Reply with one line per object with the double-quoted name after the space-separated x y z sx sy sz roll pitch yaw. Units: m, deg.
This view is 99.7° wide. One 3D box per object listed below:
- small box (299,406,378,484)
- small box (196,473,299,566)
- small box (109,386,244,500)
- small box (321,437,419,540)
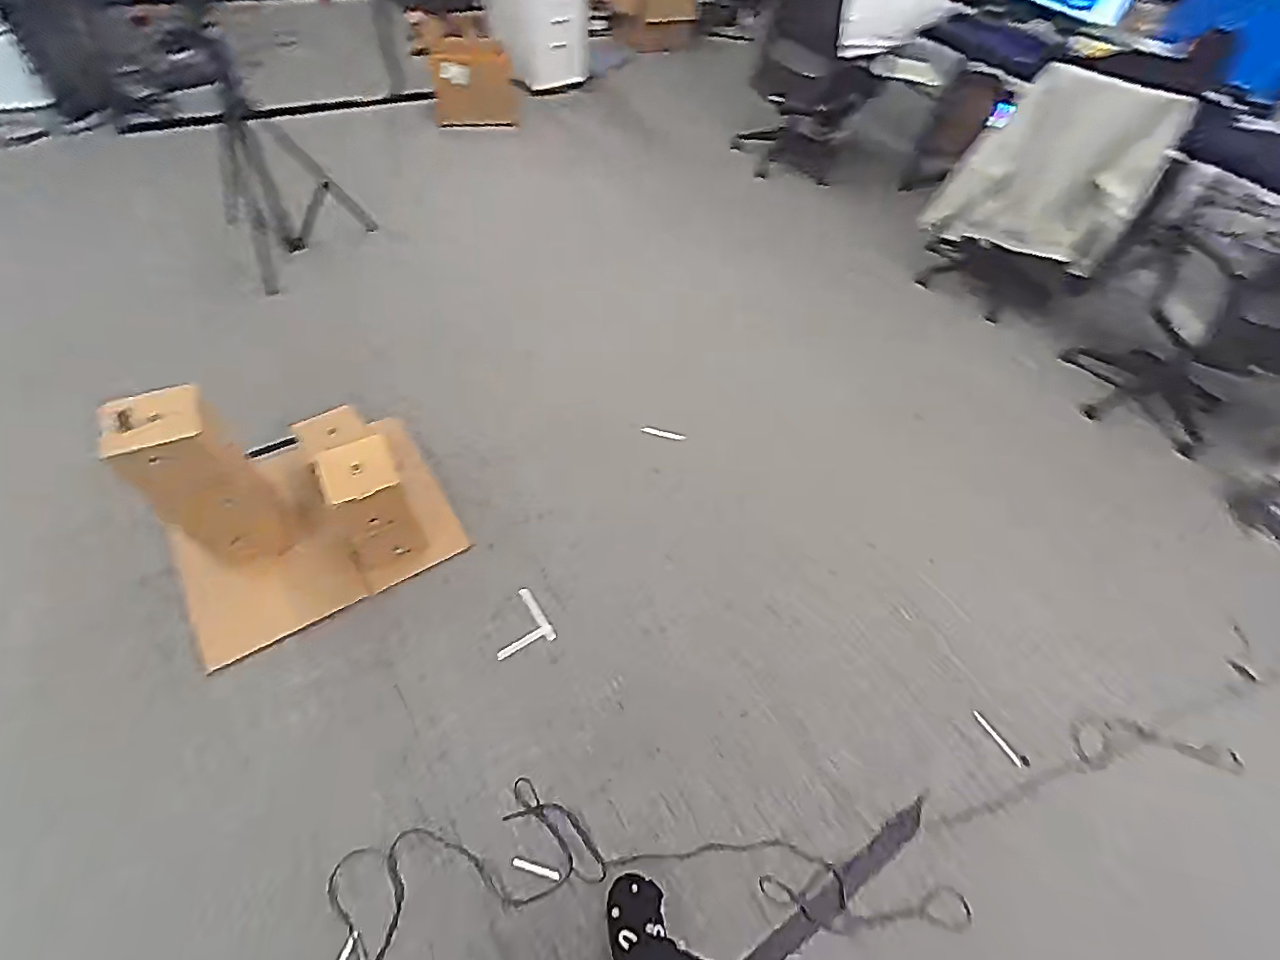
-0.902 -0.089 1.663 0.179 0.176 0.168 -30 62 -24 "small box"
-1.077 0.112 1.491 0.179 0.176 0.168 -18 59 -17 "small box"
-1.042 -0.079 1.225 0.179 0.176 0.168 -19 59 -20 "small box"
-0.695 0.023 1.402 0.168 0.176 0.179 -22 61 -21 "small box"
